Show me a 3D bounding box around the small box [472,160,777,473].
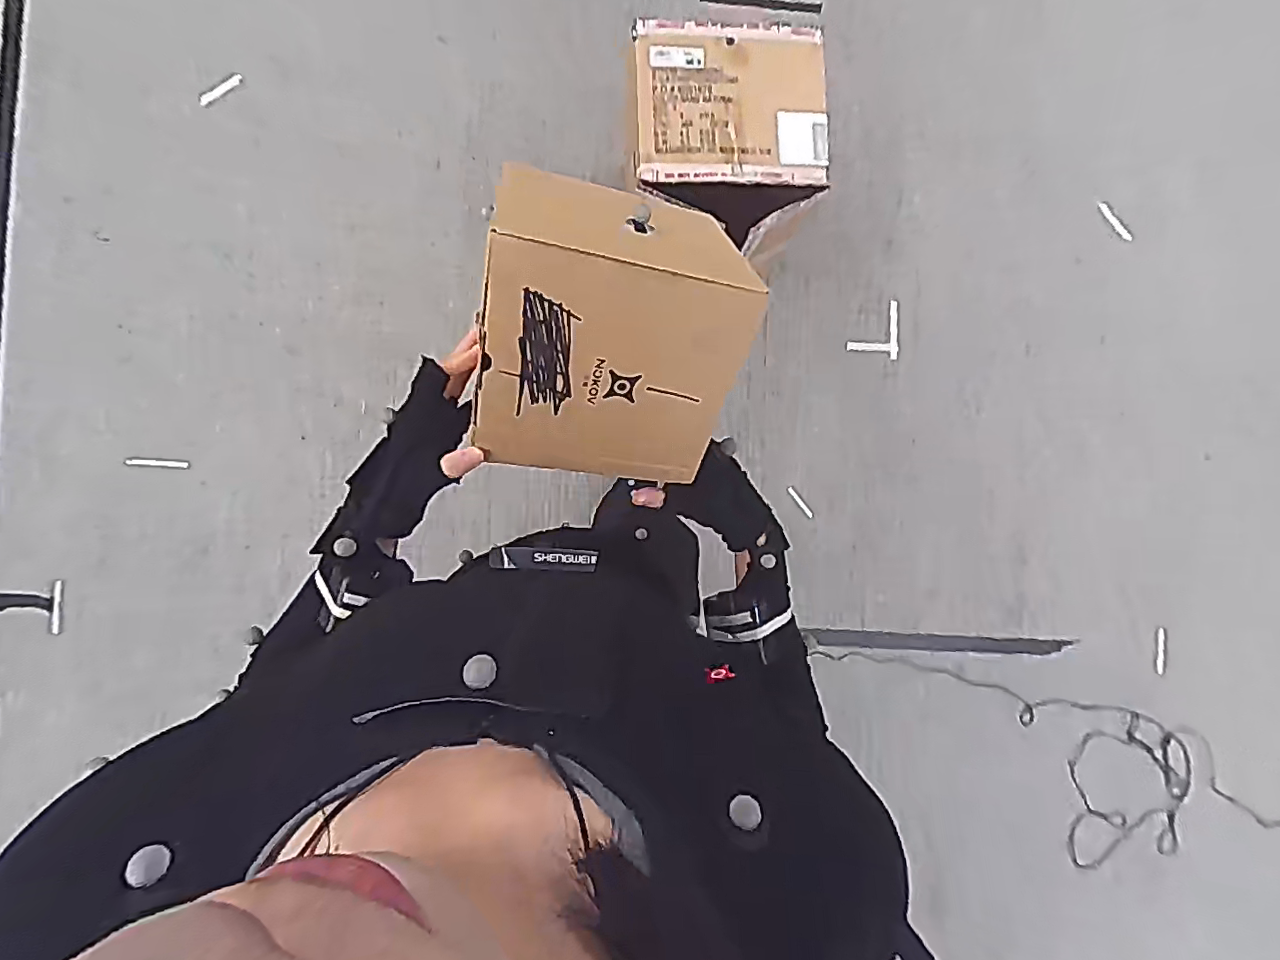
[{"bbox_3d":[-0.028,-0.129,0.422,0.179,0.176,0.168,6,130,-16],"label":"small box"}]
